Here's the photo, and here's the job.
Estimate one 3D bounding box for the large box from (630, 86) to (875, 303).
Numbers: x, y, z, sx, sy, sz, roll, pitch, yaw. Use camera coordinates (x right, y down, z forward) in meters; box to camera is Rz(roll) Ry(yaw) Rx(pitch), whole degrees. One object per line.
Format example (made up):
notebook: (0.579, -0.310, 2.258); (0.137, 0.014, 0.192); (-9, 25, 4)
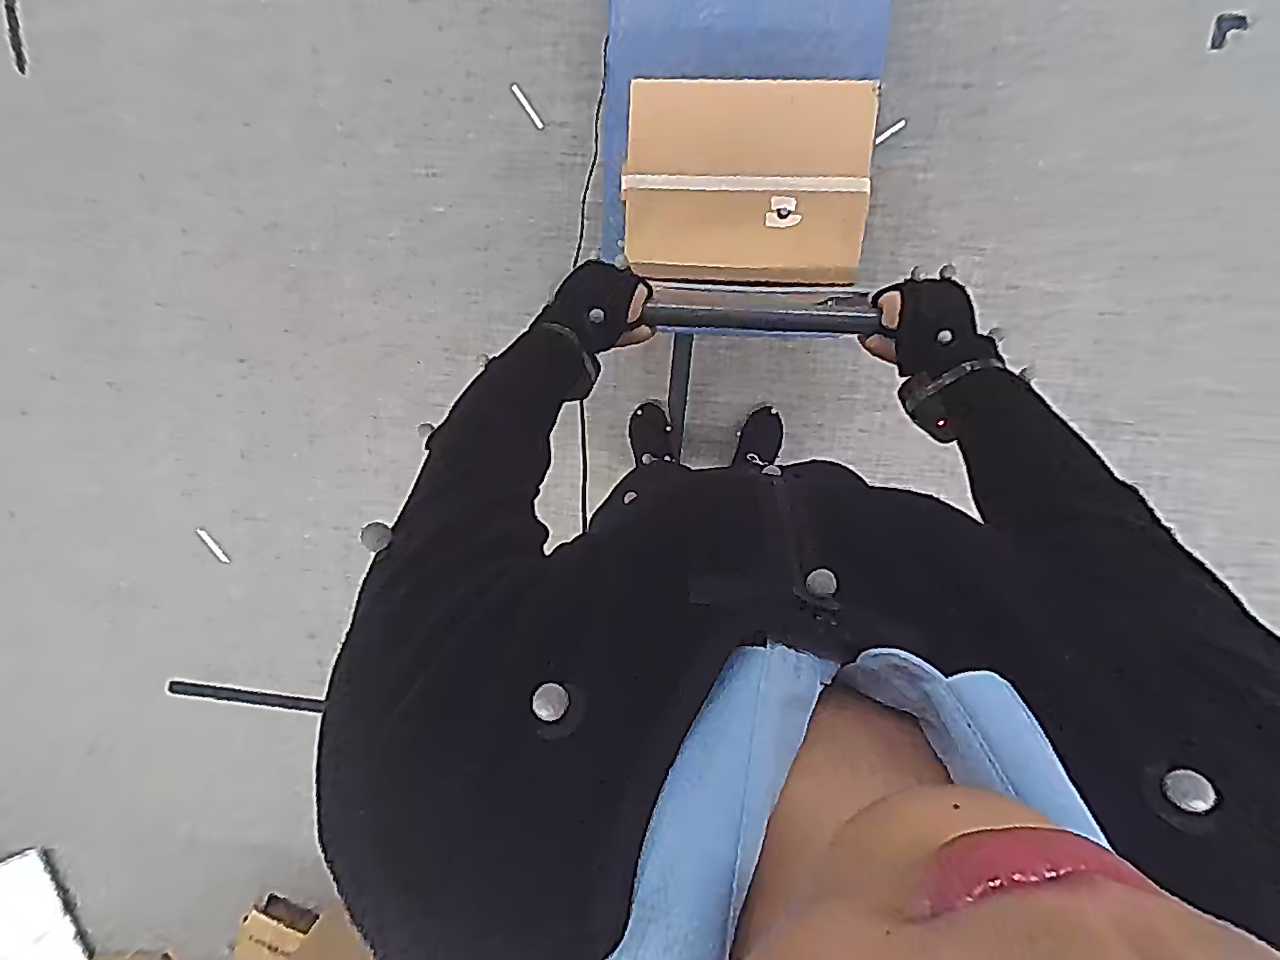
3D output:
large box: (0.193, -0.532, 1.073); (0.408, 0.320, 0.320); (3, 102, 4)
